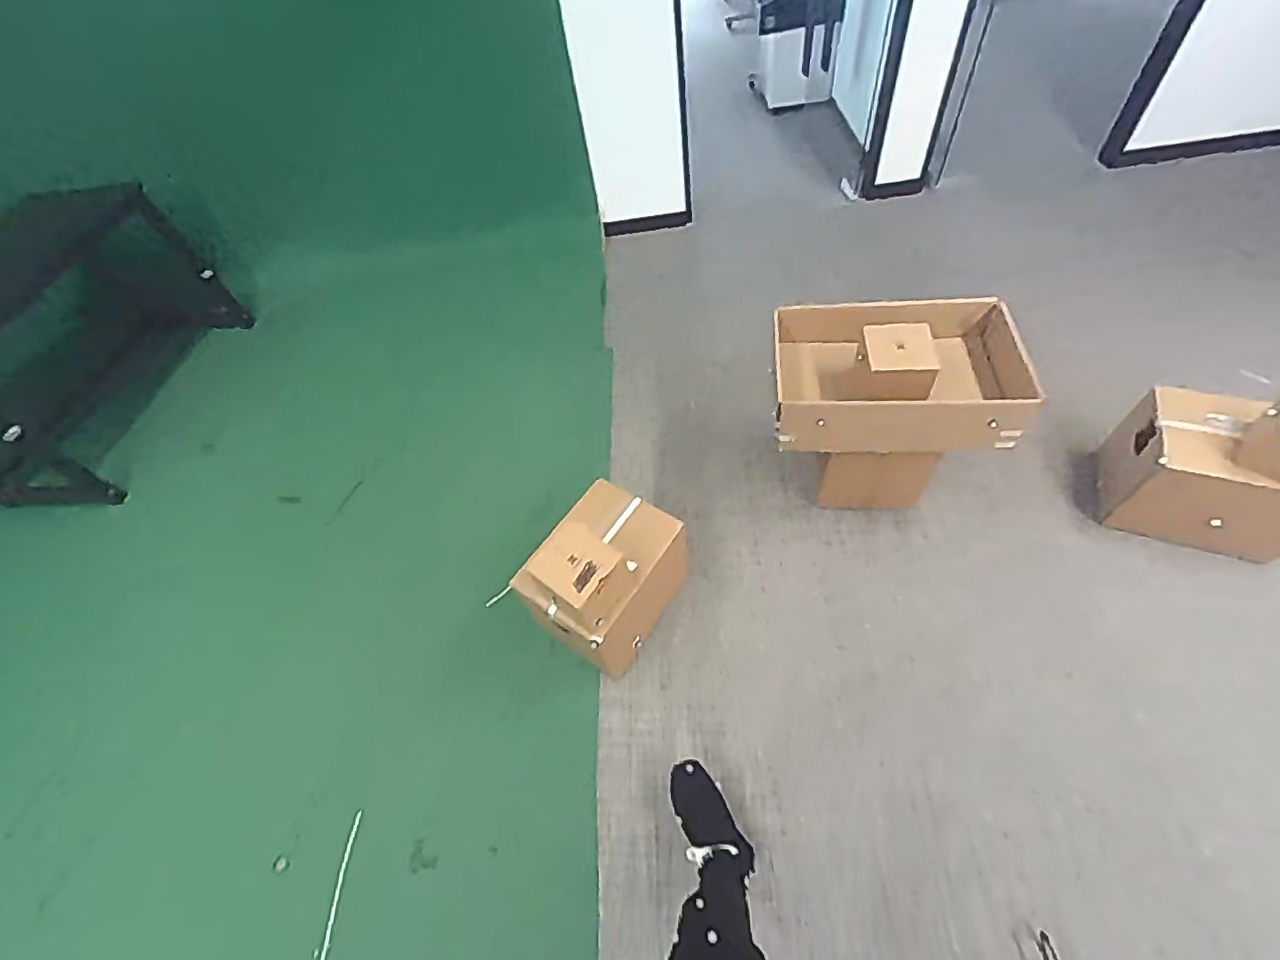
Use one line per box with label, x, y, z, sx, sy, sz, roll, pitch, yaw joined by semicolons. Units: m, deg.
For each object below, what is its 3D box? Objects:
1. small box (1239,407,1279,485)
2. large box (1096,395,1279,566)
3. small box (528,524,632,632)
small box;1.620;-0.092;1.302;0.168;0.176;0.179;34;66;29
large box;1.622;0.002;1.540;0.408;0.320;0.320;14;57;20
small box;-0.138;0.246;1.322;0.179;0.176;0.168;30;62;27
